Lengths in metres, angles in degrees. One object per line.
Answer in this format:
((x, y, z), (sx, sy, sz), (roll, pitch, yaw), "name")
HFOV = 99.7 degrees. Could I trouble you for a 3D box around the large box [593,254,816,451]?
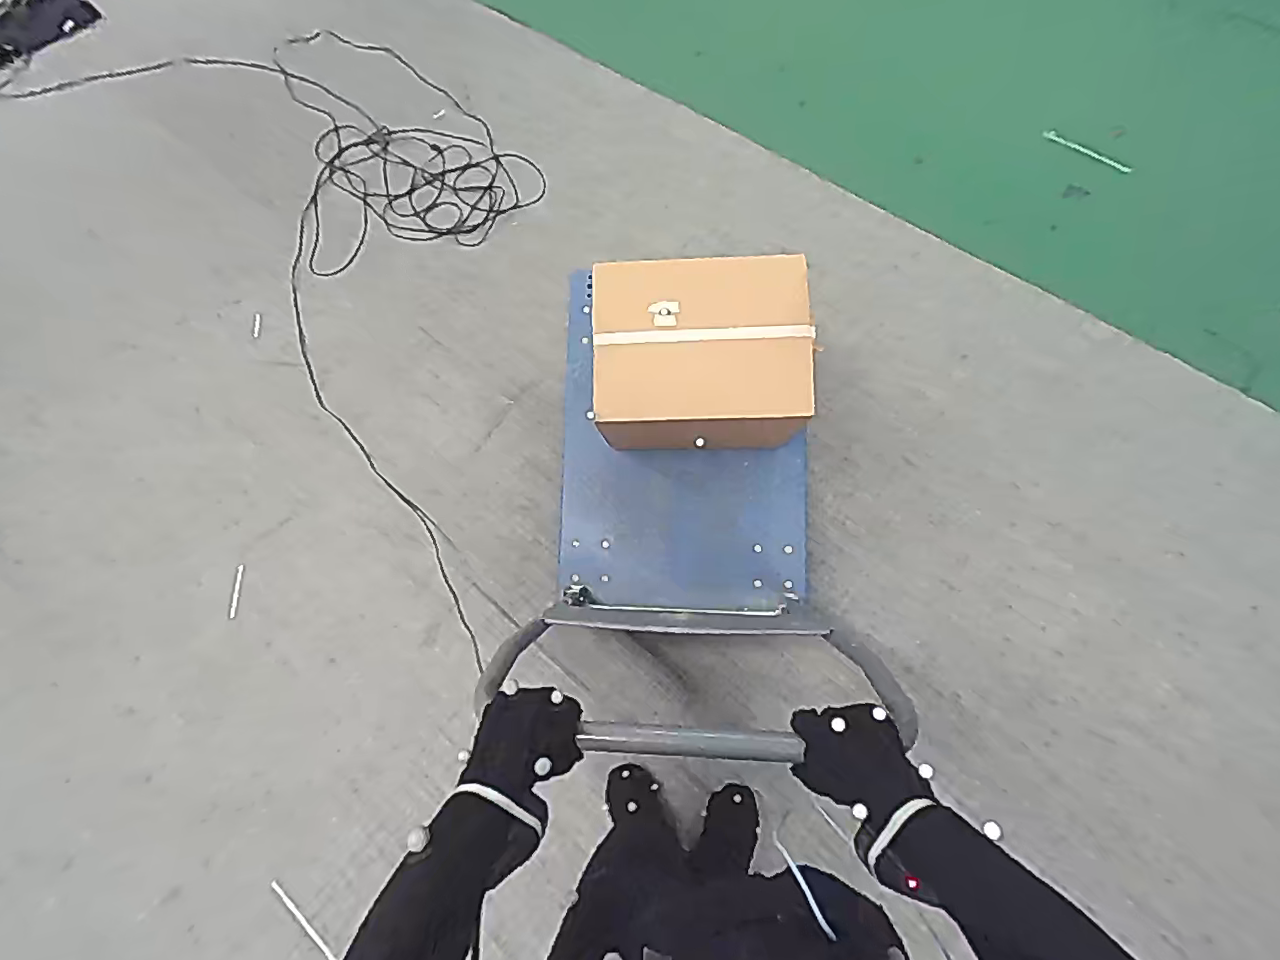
((0.129, -0.243, 1.148), (0.408, 0.320, 0.320), (-2, 83, 5), "large box")
